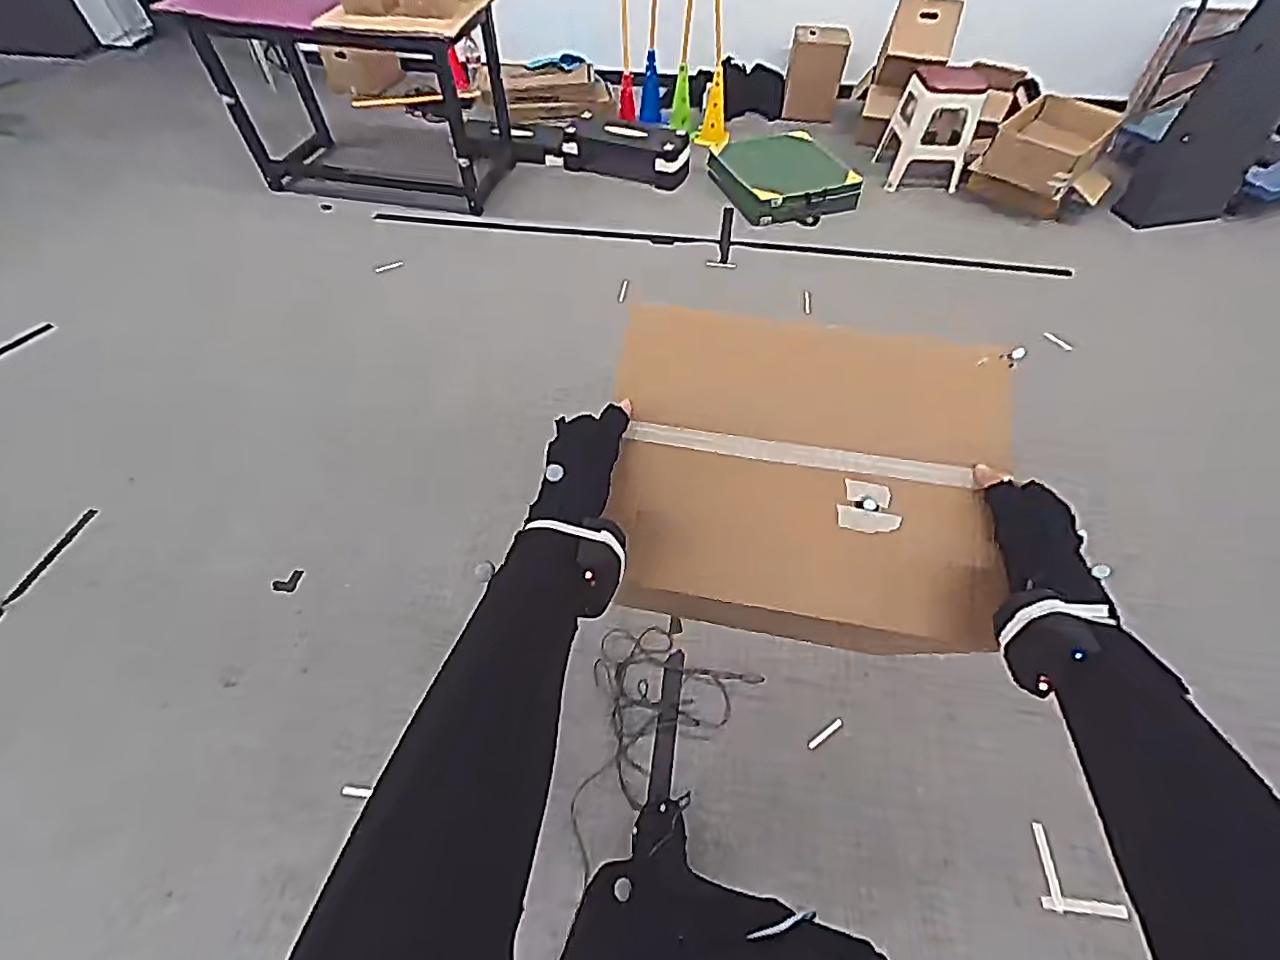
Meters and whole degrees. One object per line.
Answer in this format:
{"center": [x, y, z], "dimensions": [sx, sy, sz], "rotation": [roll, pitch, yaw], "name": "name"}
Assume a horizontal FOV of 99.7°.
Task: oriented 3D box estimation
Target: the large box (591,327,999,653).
{"center": [0.172, 0.036, 0.713], "dimensions": [0.408, 0.320, 0.320], "rotation": [9, 73, 5], "name": "large box"}
